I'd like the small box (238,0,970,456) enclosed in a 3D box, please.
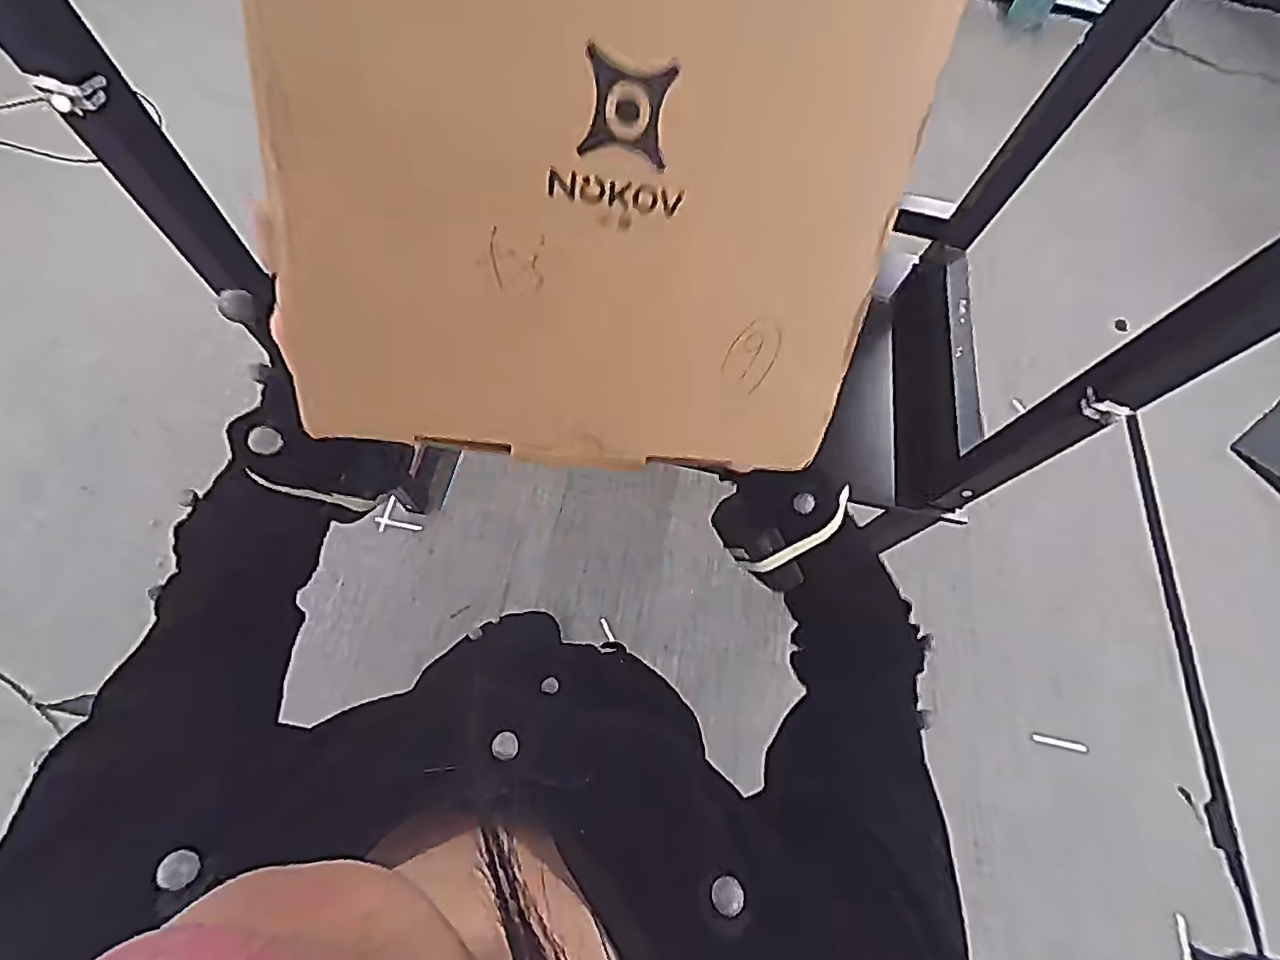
[{"bbox_3d":[-0.020,-0.128,0.203,0.168,0.179,0.176,3,28,-14],"label":"small box"}]
